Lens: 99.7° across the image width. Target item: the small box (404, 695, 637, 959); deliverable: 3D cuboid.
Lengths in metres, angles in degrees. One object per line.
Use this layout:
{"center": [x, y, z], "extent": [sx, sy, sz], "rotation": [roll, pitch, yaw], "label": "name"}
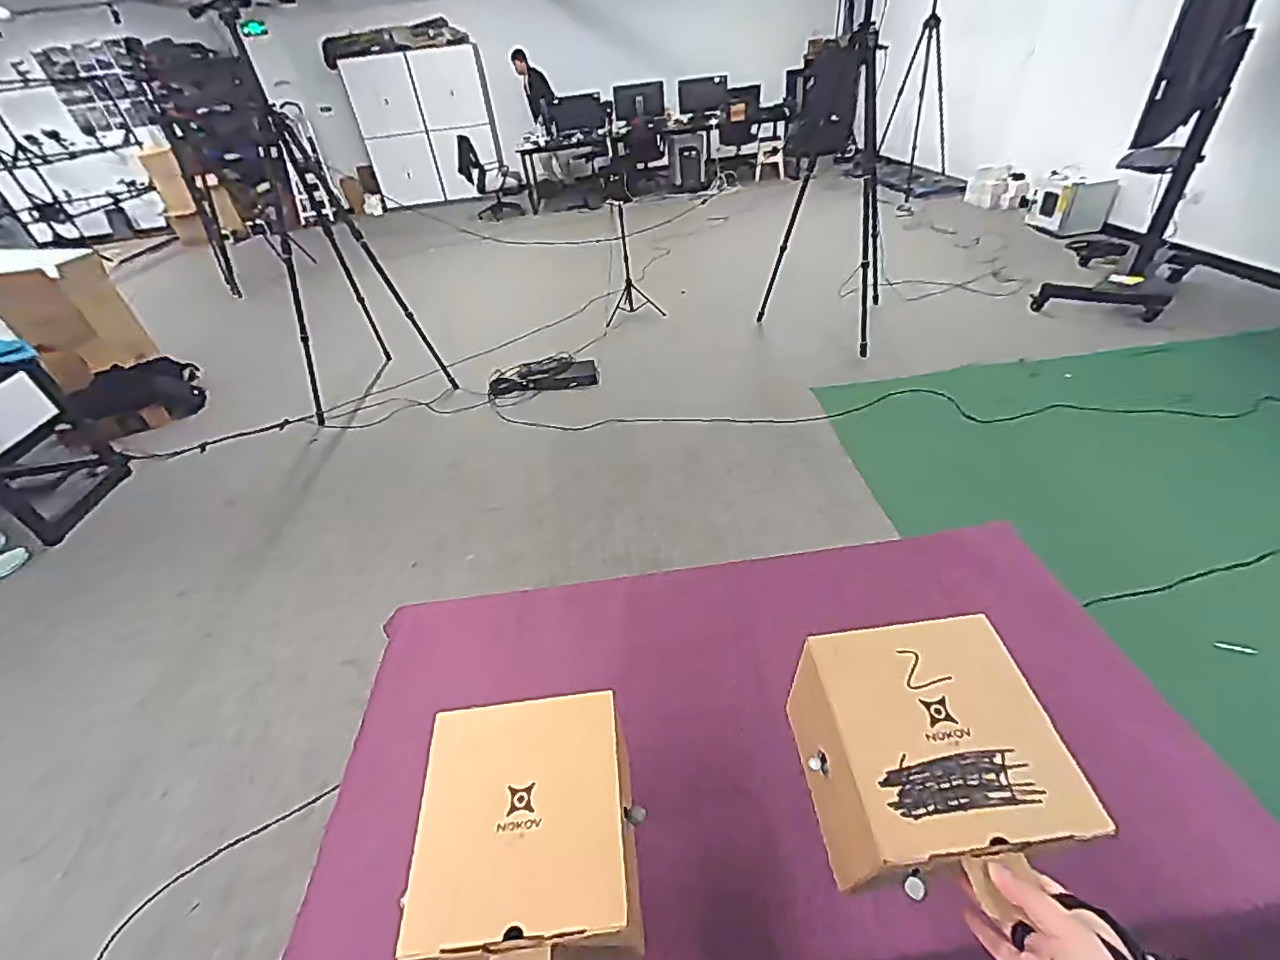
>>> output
{"center": [-0.095, 0.330, 0.509], "extent": [0.168, 0.176, 0.179], "rotation": [-7, 45, -2], "label": "small box"}
